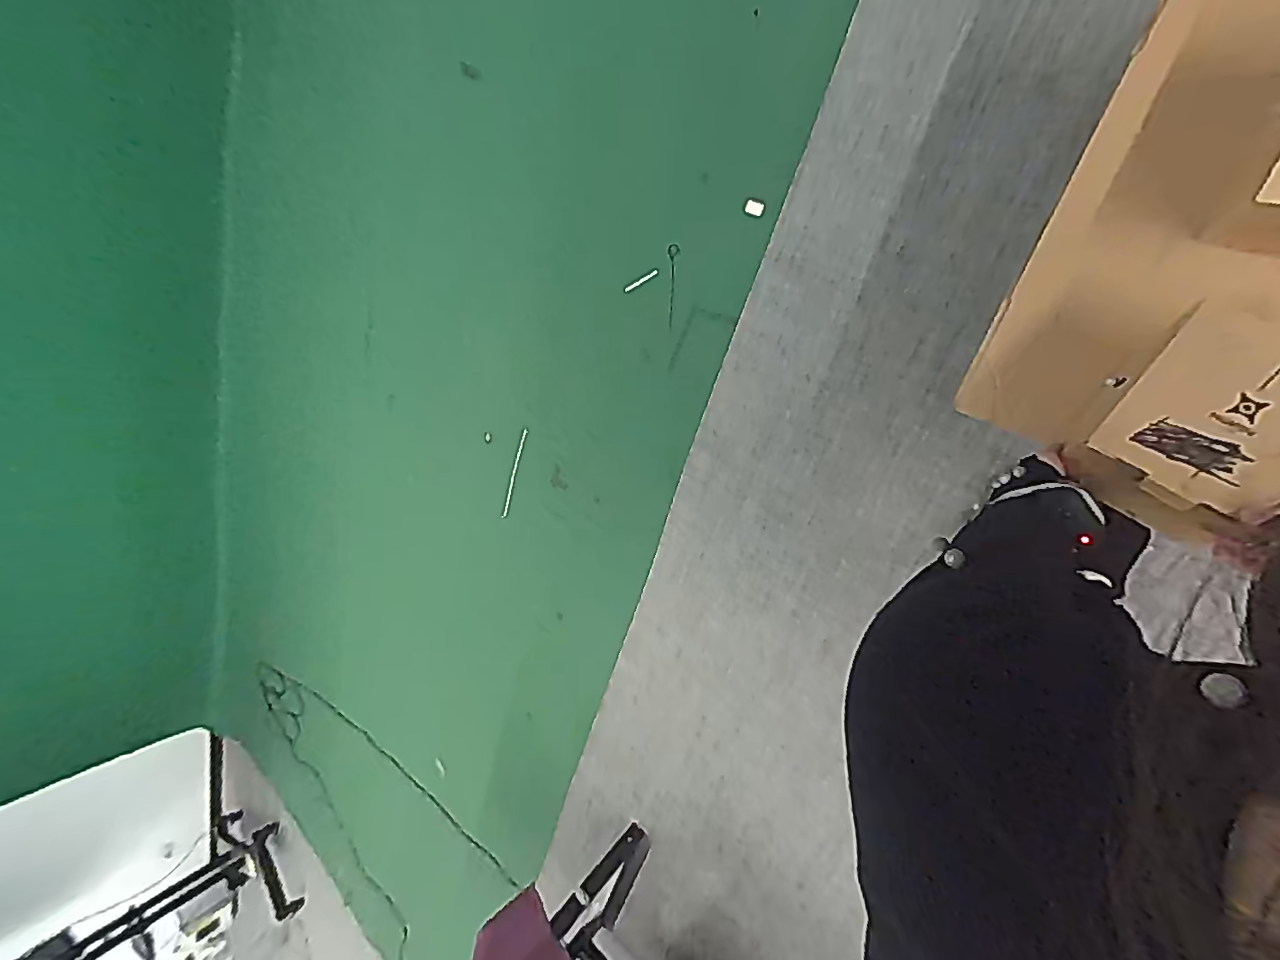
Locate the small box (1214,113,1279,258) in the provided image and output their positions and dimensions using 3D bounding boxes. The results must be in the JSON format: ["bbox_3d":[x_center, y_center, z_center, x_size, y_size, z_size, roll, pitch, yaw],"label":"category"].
[{"bbox_3d":[0.693,-0.309,0.495,0.168,0.176,0.179,29,112,30],"label":"small box"}]

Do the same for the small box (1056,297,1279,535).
[{"bbox_3d":[0.592,-0.054,0.580,0.168,0.176,0.179,39,99,23],"label":"small box"}]
